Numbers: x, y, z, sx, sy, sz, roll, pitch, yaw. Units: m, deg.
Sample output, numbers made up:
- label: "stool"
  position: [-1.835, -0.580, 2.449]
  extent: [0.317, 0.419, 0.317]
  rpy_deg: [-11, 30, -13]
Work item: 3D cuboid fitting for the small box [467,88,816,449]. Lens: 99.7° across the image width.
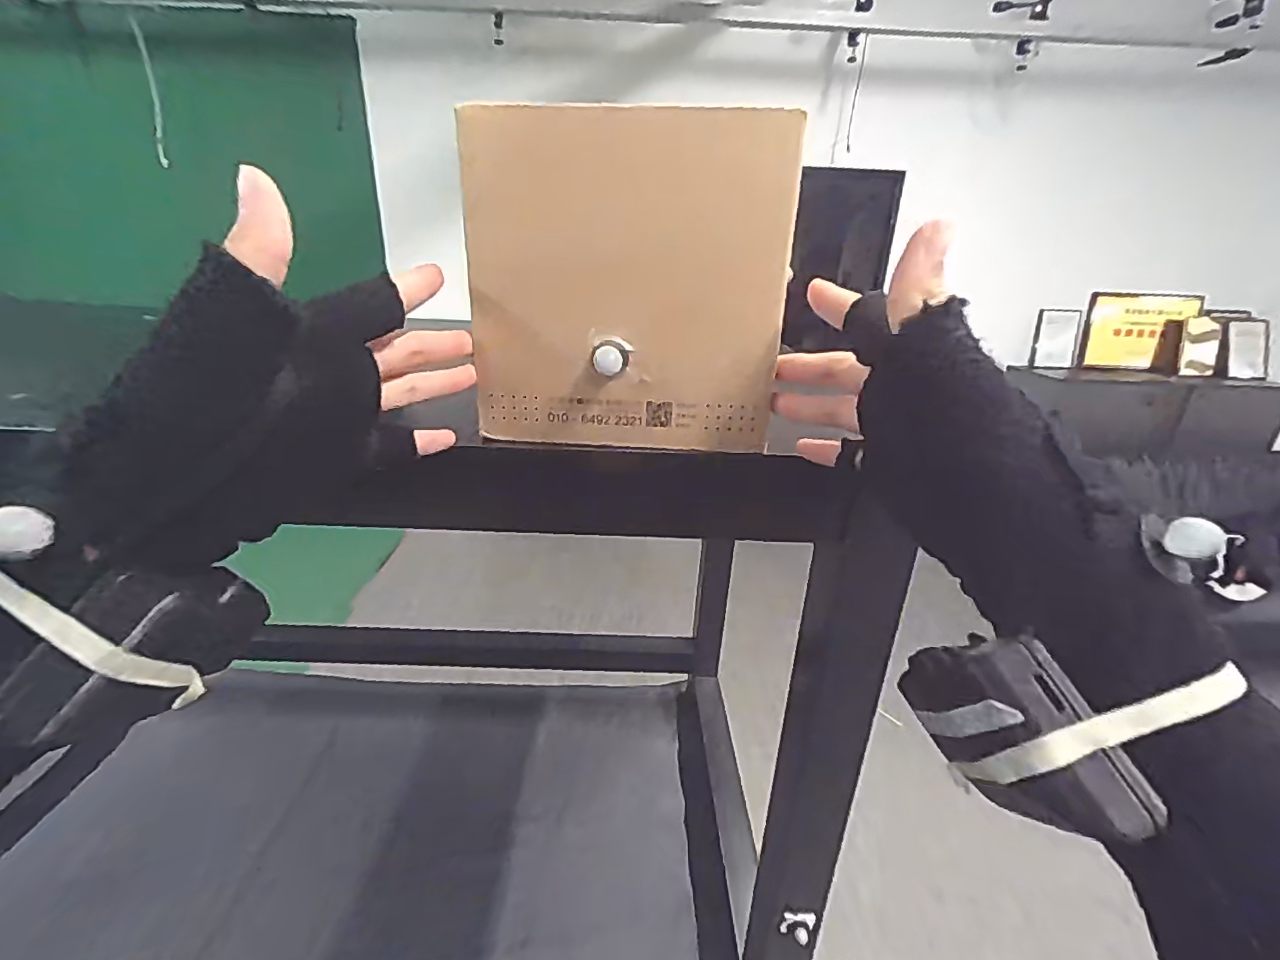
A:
- label: "small box"
  position: [0.003, -0.128, 0.352]
  extent: [0.168, 0.176, 0.179]
  rpy_deg: [3, 22, 4]
